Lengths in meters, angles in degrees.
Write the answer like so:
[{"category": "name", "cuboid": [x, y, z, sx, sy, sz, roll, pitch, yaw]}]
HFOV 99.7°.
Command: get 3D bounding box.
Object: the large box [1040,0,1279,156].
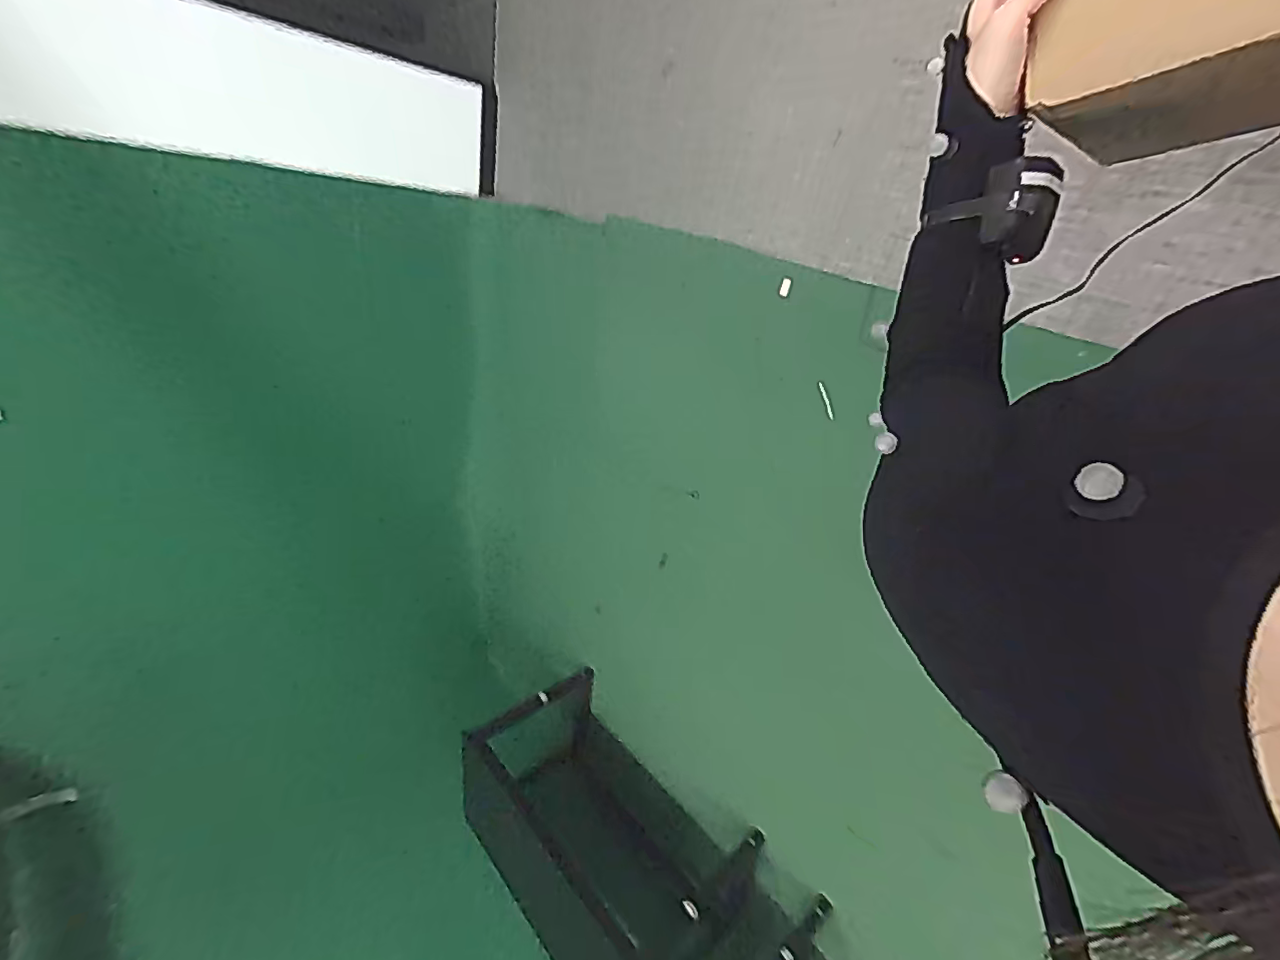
[{"category": "large box", "cuboid": [0.517, -0.450, 0.324, 0.408, 0.320, 0.320, 7, 110, 46]}]
